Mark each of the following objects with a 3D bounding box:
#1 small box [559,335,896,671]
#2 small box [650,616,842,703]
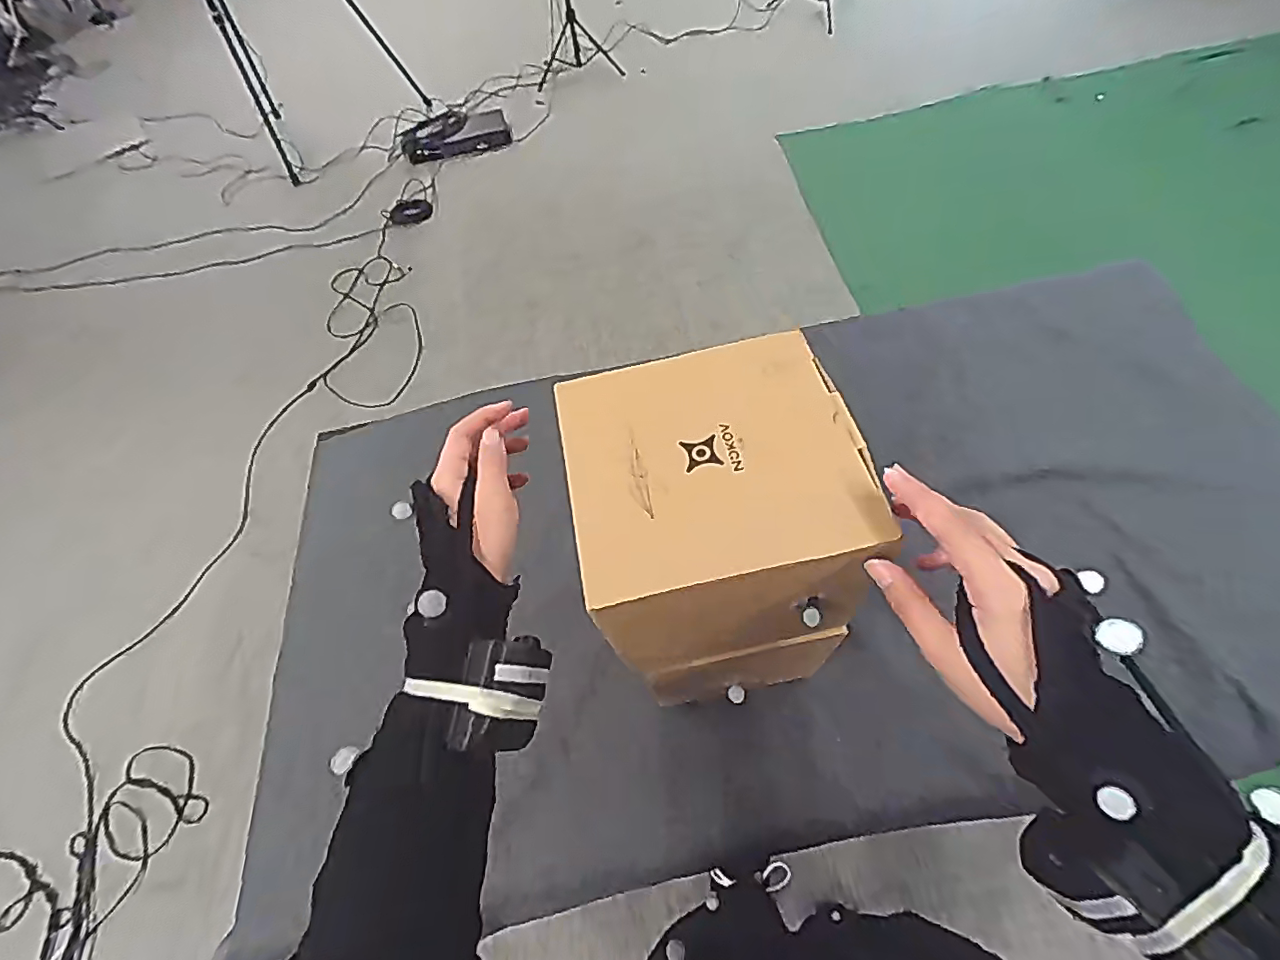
[{"bbox_3d":[0.052,0.027,0.402,0.179,0.176,0.168,-14,57,1],"label":"small box"},{"bbox_3d":[0.077,0.107,0.541,0.168,0.176,0.179,-12,59,1],"label":"small box"}]
